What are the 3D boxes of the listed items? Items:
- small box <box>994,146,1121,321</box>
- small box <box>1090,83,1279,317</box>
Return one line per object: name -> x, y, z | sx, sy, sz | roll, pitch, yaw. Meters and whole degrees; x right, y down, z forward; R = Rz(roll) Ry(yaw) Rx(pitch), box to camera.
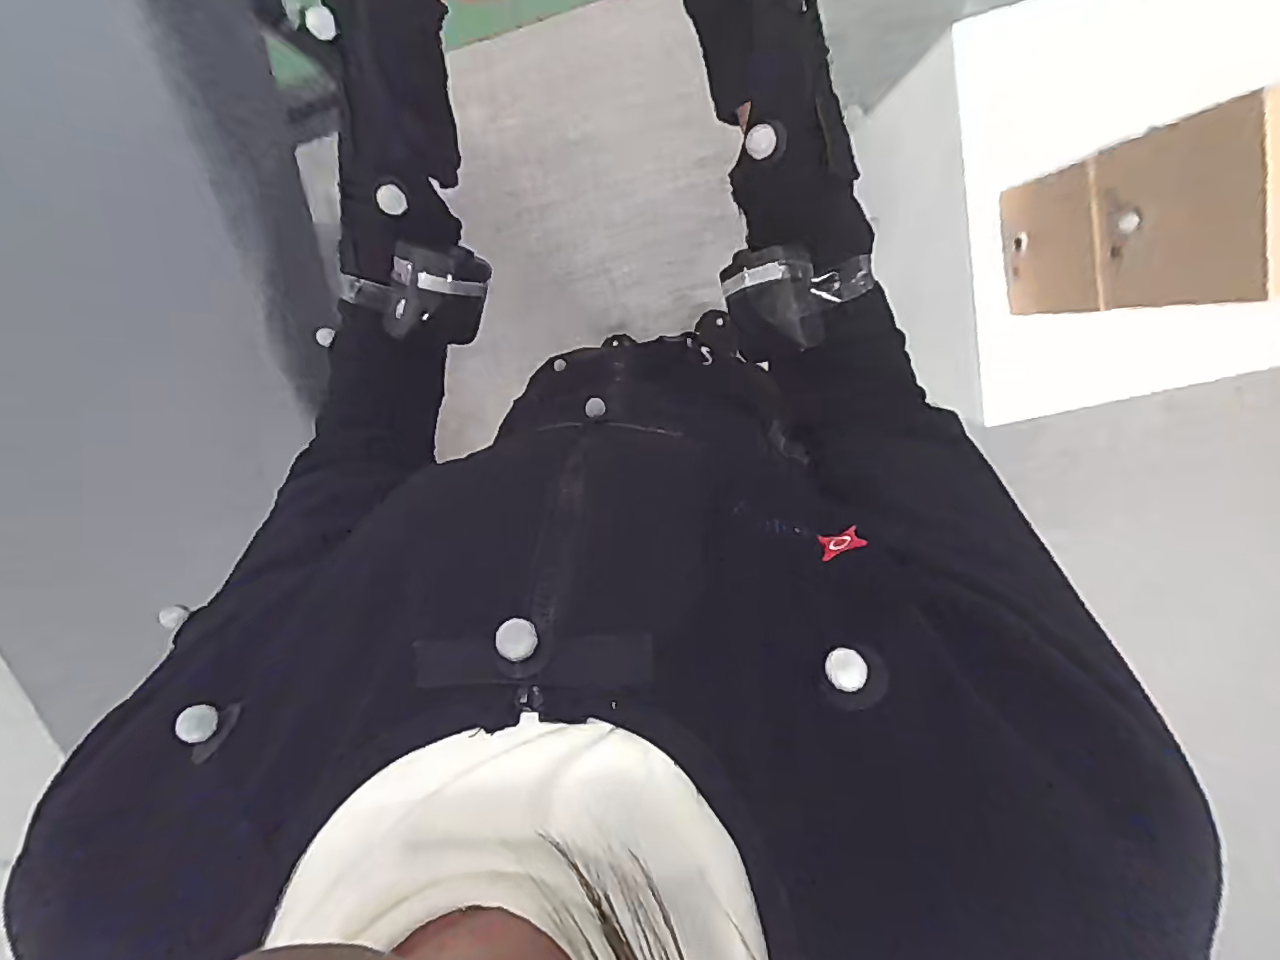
small box -> 0.554, -0.291, 0.627 | 0.179, 0.176, 0.168 | -15, 103, 9
small box -> 0.549, -0.250, 0.468 | 0.179, 0.176, 0.168 | -19, 104, 7
